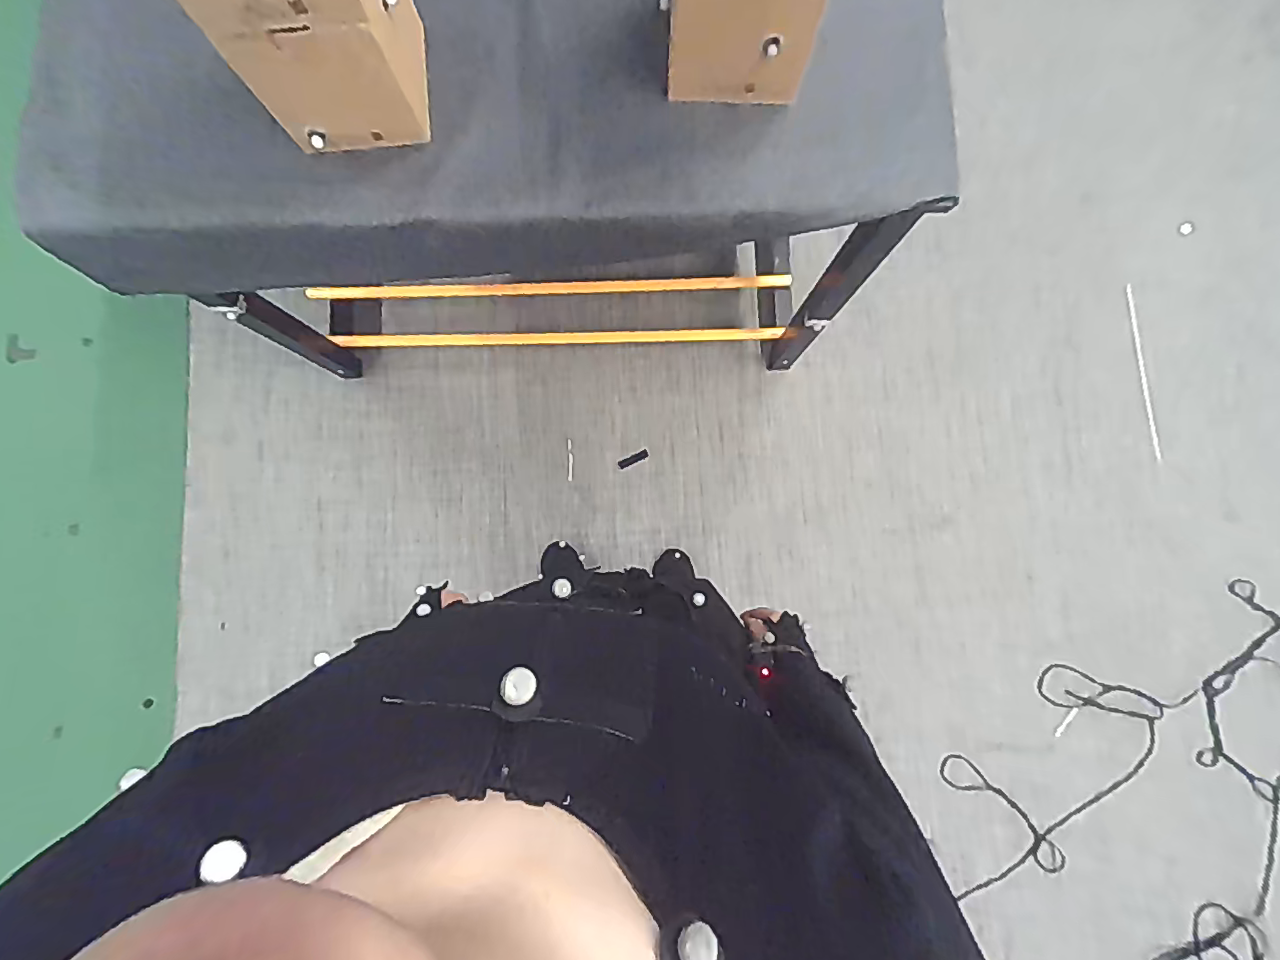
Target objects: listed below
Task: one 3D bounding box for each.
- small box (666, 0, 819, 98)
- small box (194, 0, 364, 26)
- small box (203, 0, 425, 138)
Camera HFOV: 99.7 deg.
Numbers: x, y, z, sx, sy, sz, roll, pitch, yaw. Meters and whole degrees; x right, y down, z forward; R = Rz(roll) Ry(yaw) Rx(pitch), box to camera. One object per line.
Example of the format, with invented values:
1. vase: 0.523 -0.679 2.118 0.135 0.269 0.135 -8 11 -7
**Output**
1. small box: 0.120 -0.595 0.641 0.168 0.176 0.179 3 83 -1
2. small box: -0.362 -0.551 0.466 0.168 0.176 0.179 -8 84 -1
3. small box: -0.363 -0.531 0.629 0.168 0.176 0.179 -6 83 -1
